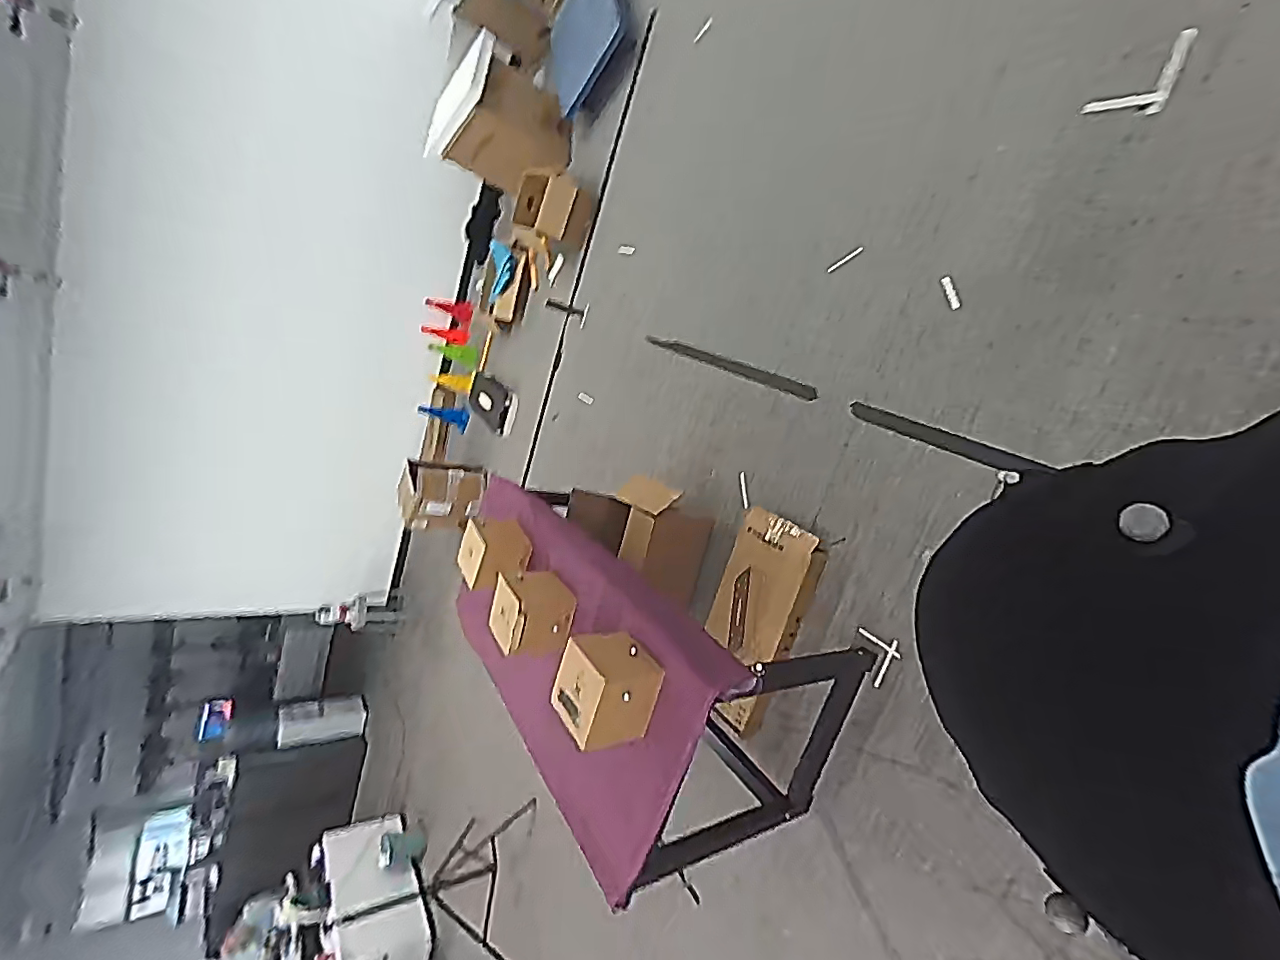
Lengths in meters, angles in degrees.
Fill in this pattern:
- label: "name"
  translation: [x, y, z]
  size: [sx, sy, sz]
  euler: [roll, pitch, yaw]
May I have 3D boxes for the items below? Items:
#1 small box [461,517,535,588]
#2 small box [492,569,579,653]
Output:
- label: "small box"
  translation: [-0.464, 0.234, 1.773]
  size: [0.179, 0.176, 0.168]
  euler: [42, 117, 47]
- label: "small box"
  translation: [-0.298, 0.366, 1.536]
  size: [0.179, 0.176, 0.168]
  euler: [32, 111, 50]
